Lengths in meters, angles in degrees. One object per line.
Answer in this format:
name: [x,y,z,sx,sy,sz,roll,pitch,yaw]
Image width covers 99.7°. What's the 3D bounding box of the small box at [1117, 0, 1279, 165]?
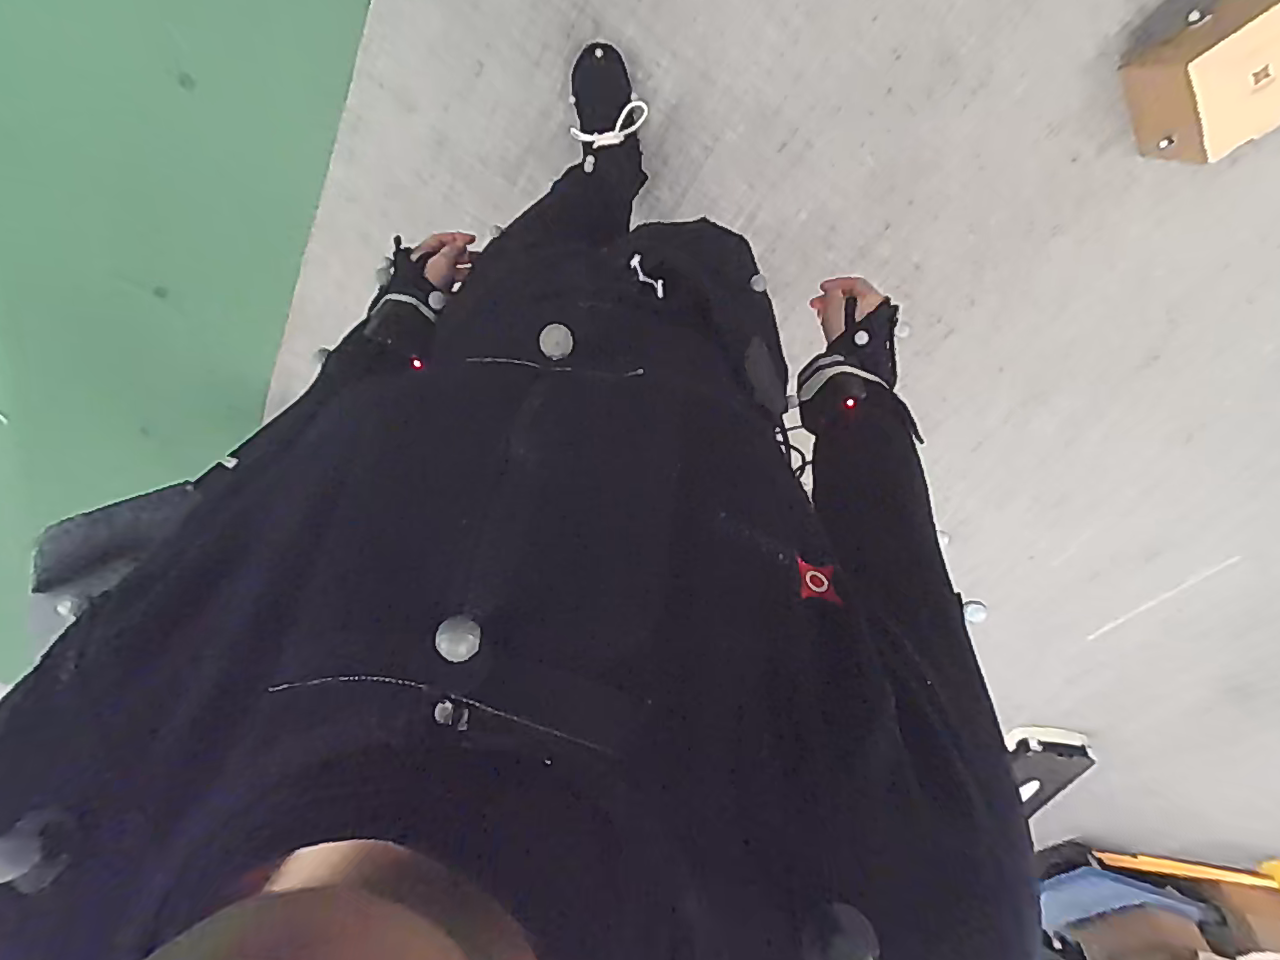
small box: [0.951,-0.664,0.894,0.168,0.176,0.179,-33,116,24]
